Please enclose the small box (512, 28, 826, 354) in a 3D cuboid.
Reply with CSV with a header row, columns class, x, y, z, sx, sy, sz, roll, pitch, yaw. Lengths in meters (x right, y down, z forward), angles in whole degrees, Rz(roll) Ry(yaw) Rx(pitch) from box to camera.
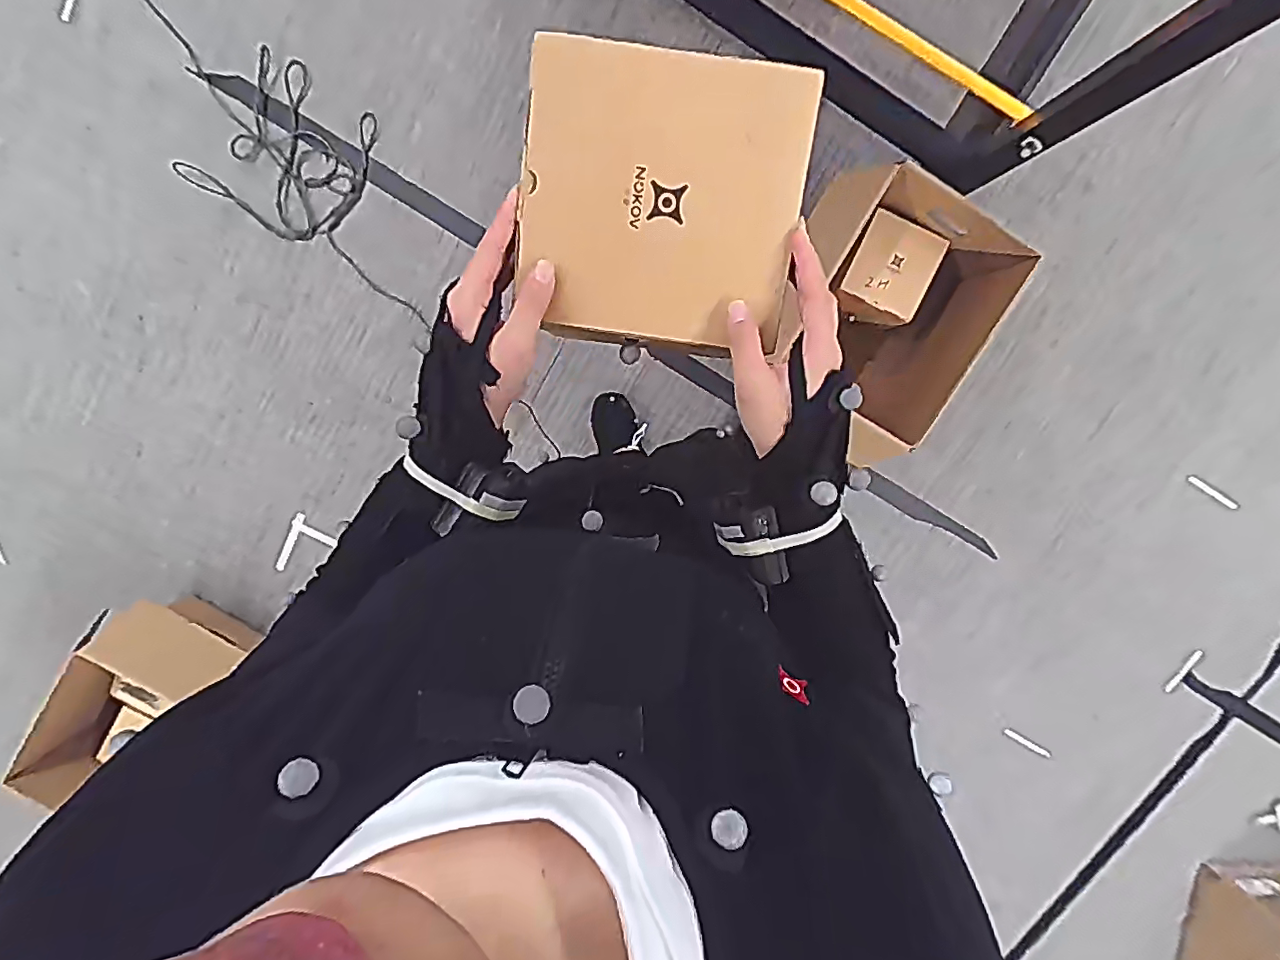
class,x,y,z,sx,sy,sz,roll,pitch,yaw
small box,0.015,-0.191,0.411,0.179,0.176,0.168,8,102,0
